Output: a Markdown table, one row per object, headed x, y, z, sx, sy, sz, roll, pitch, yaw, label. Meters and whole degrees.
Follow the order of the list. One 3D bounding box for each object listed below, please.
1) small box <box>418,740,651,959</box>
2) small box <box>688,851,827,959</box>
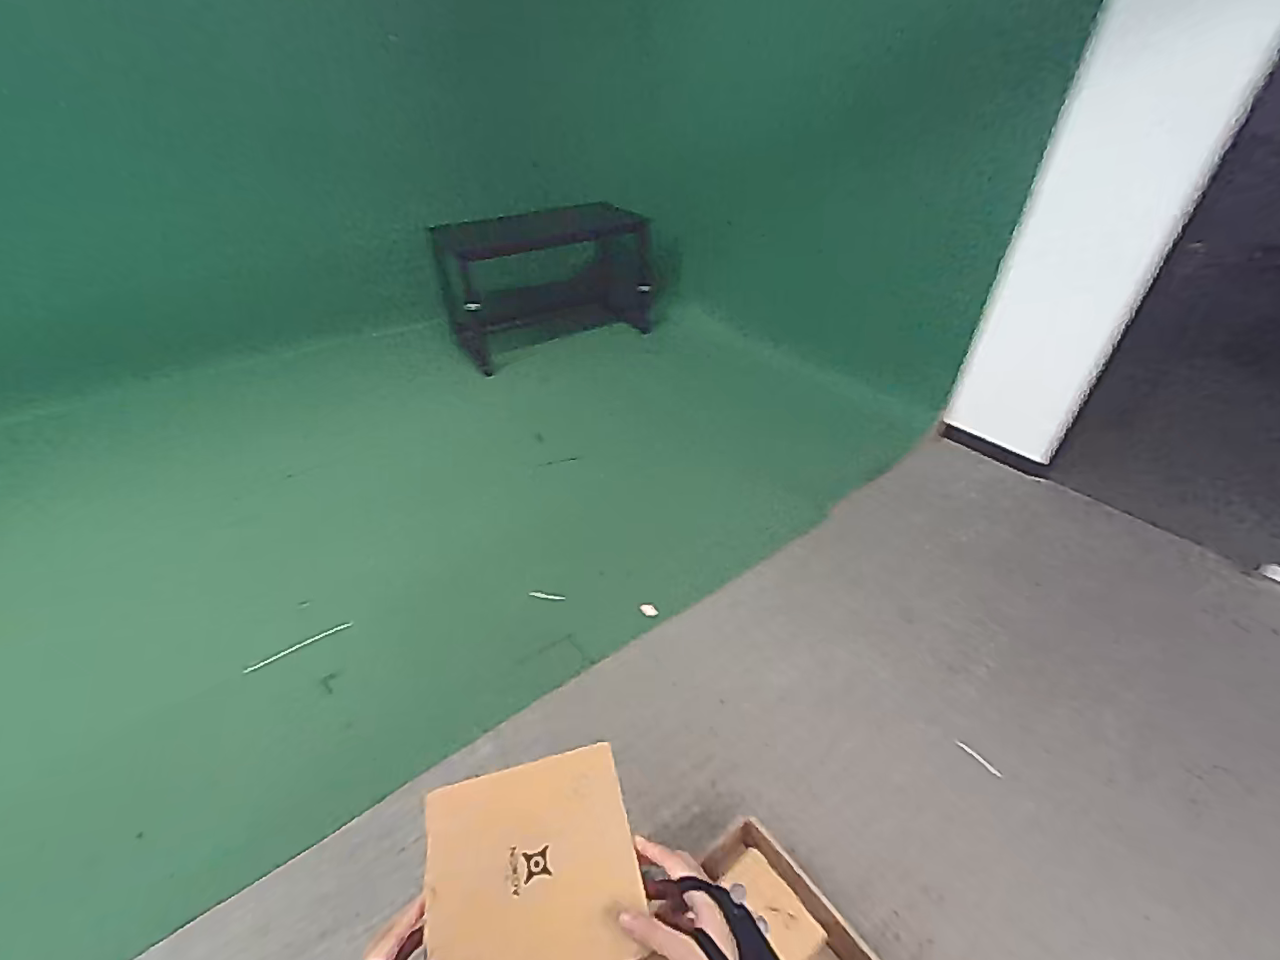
| x | y | z | sx | sy | sz | roll | pitch | yaw | label |
| --- | --- | --- | --- | --- | --- | --- | --- | --- | --- |
| -0.095 | 0.380 | 0.508 | 0.179 | 0.176 | 0.168 | -12 | 42 | -11 | small box |
| 0.203 | 0.823 | 0.967 | 0.179 | 0.176 | 0.168 | -27 | 46 | -27 | small box |
